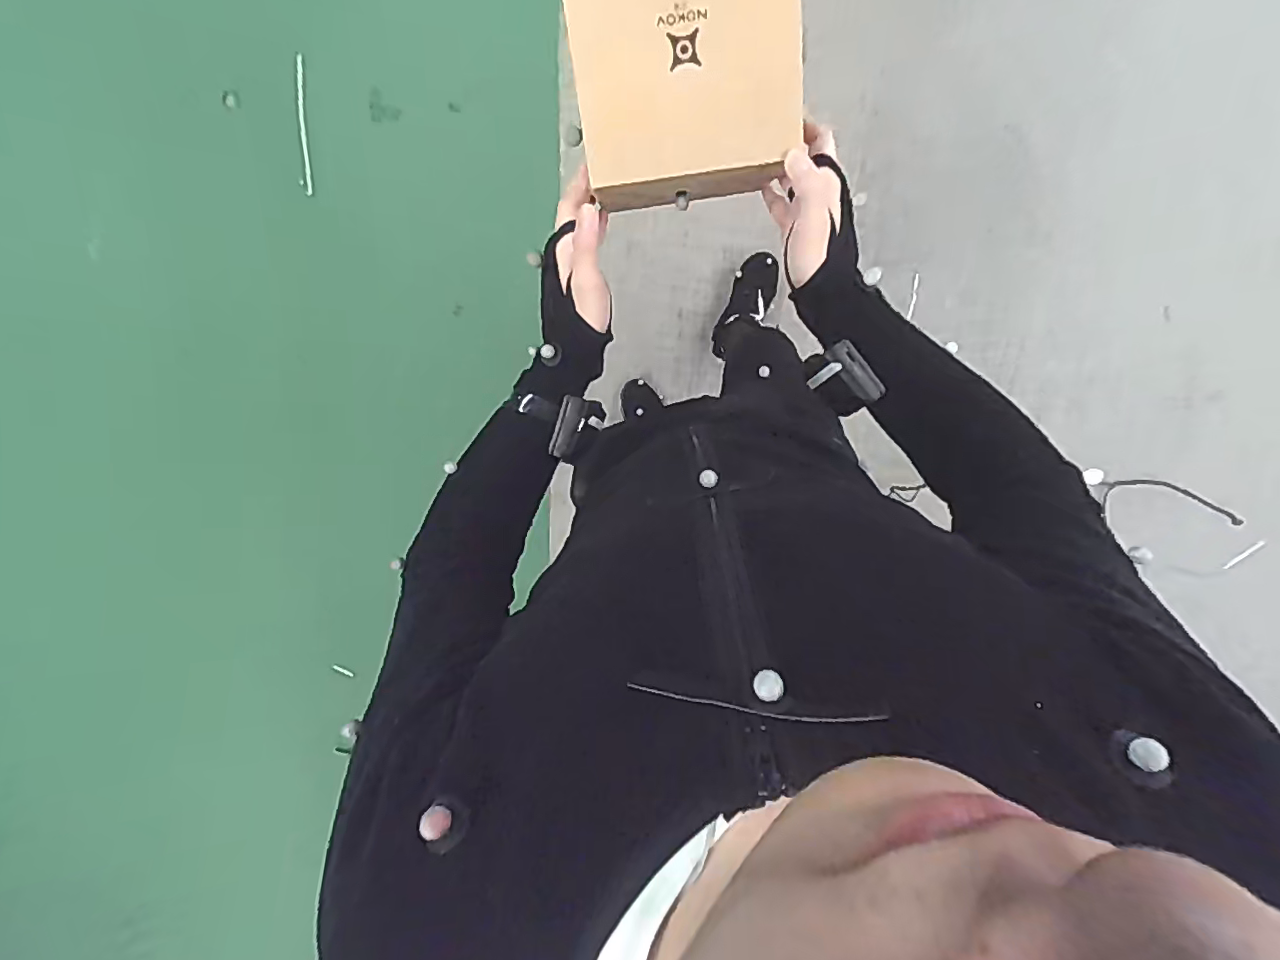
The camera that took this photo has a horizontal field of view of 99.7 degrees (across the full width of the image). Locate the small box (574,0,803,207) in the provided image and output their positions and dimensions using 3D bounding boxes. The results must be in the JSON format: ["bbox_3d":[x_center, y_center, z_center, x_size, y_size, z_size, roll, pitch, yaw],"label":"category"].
[{"bbox_3d":[0.038,-0.346,0.470,0.168,0.176,0.179,-6,110,2],"label":"small box"}]
